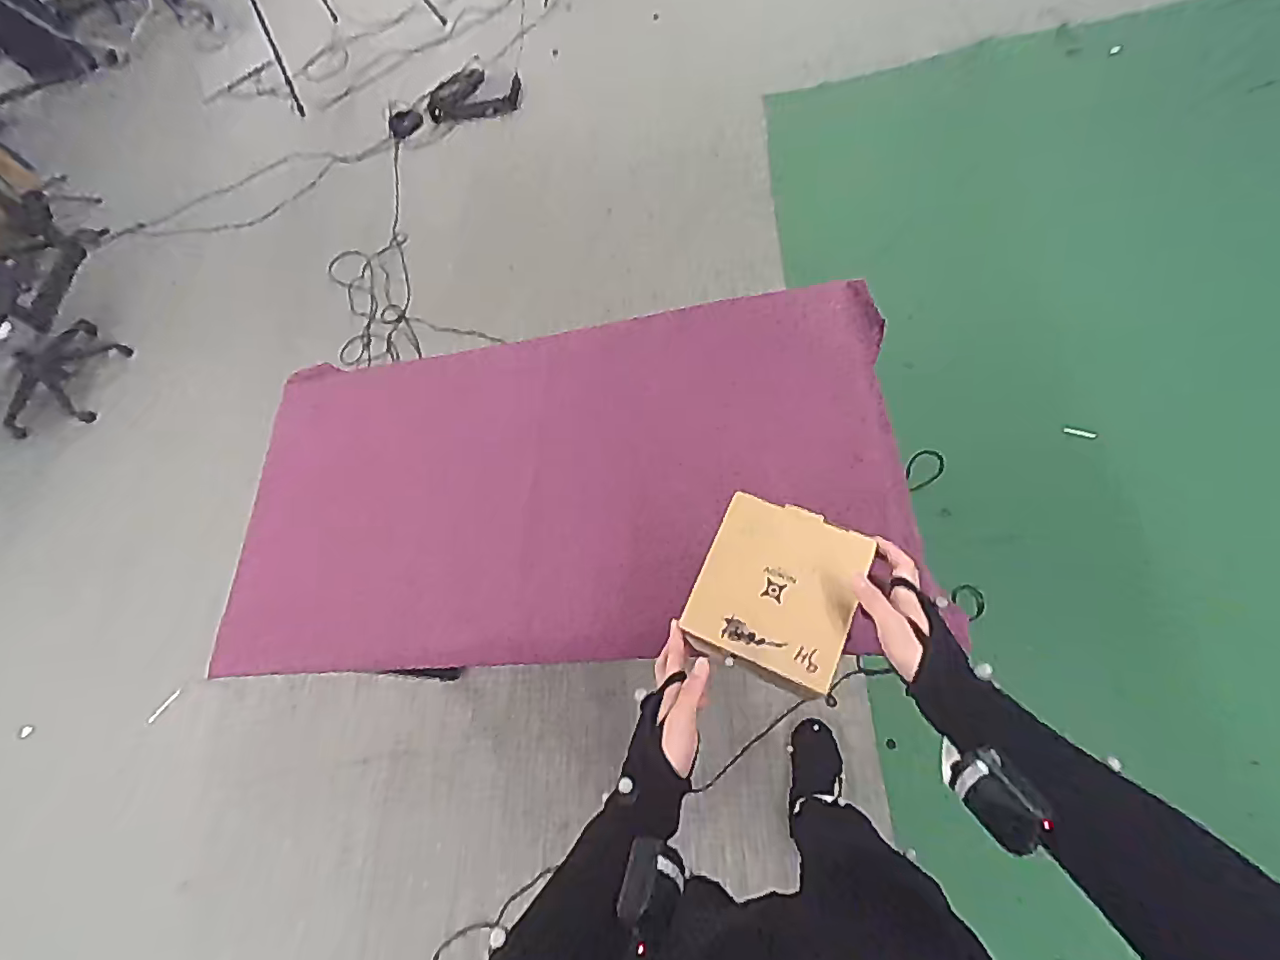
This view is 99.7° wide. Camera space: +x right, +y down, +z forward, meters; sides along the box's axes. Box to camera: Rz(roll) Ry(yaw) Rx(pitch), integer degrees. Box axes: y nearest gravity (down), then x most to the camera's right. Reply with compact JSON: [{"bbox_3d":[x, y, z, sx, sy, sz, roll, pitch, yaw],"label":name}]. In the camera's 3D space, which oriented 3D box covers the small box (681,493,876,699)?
[{"bbox_3d":[0.165,0.147,0.662,0.168,0.176,0.179,20,72,20],"label":"small box"}]
